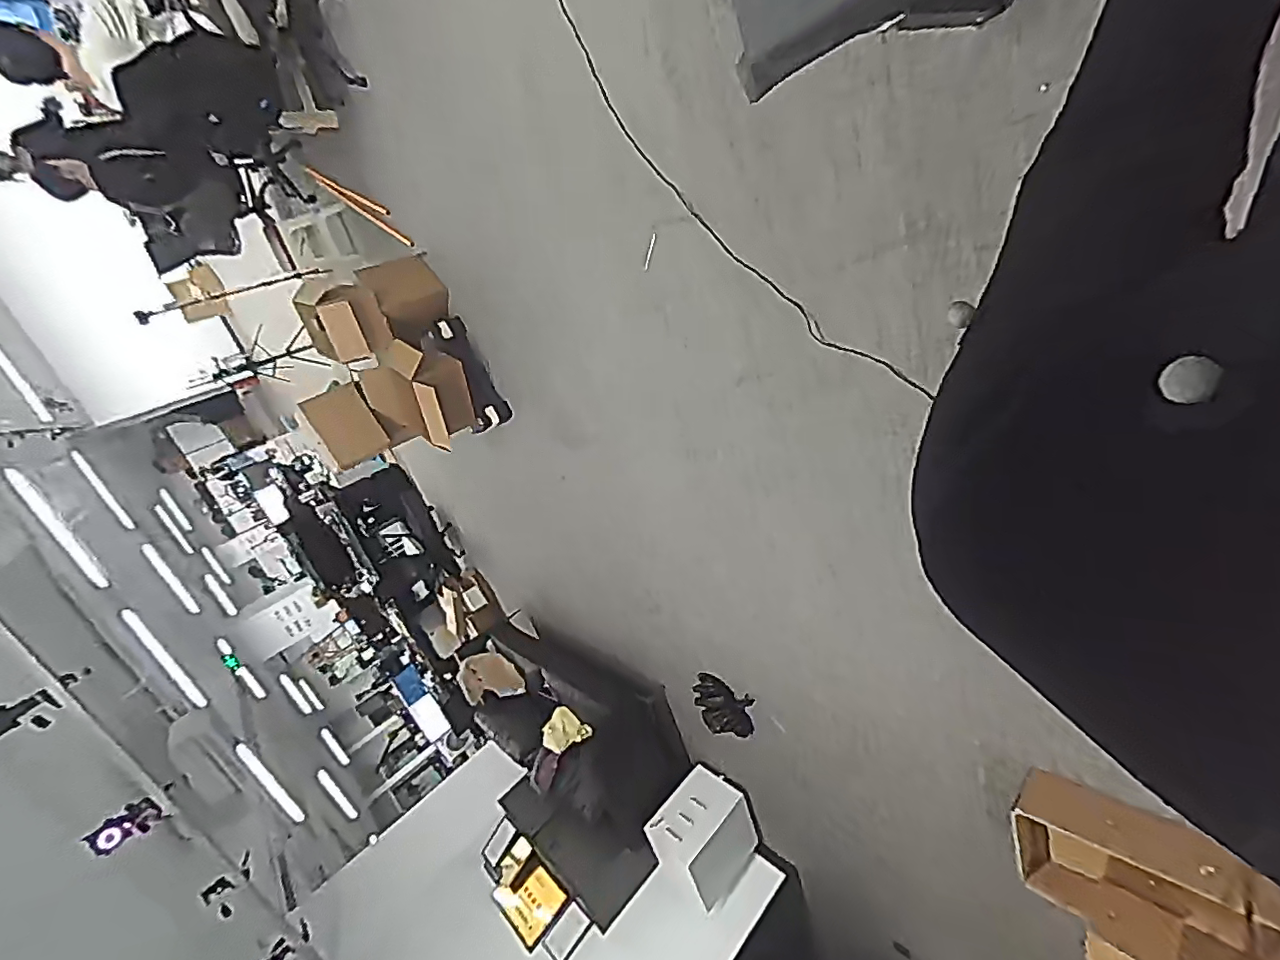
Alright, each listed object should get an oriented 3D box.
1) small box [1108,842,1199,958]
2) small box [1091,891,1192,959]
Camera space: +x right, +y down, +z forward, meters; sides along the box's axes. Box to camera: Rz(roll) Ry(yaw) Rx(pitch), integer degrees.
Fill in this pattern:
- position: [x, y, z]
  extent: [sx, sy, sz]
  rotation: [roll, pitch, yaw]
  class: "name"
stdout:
- position: [1.498, 1.210, 1.573]
  extent: [0.179, 0.176, 0.168]
  rotation: [4, 122, 51]
  class: "small box"
- position: [1.361, 1.273, 1.468]
  extent: [0.179, 0.176, 0.168]
  rotation: [5, 123, 51]
  class: "small box"
